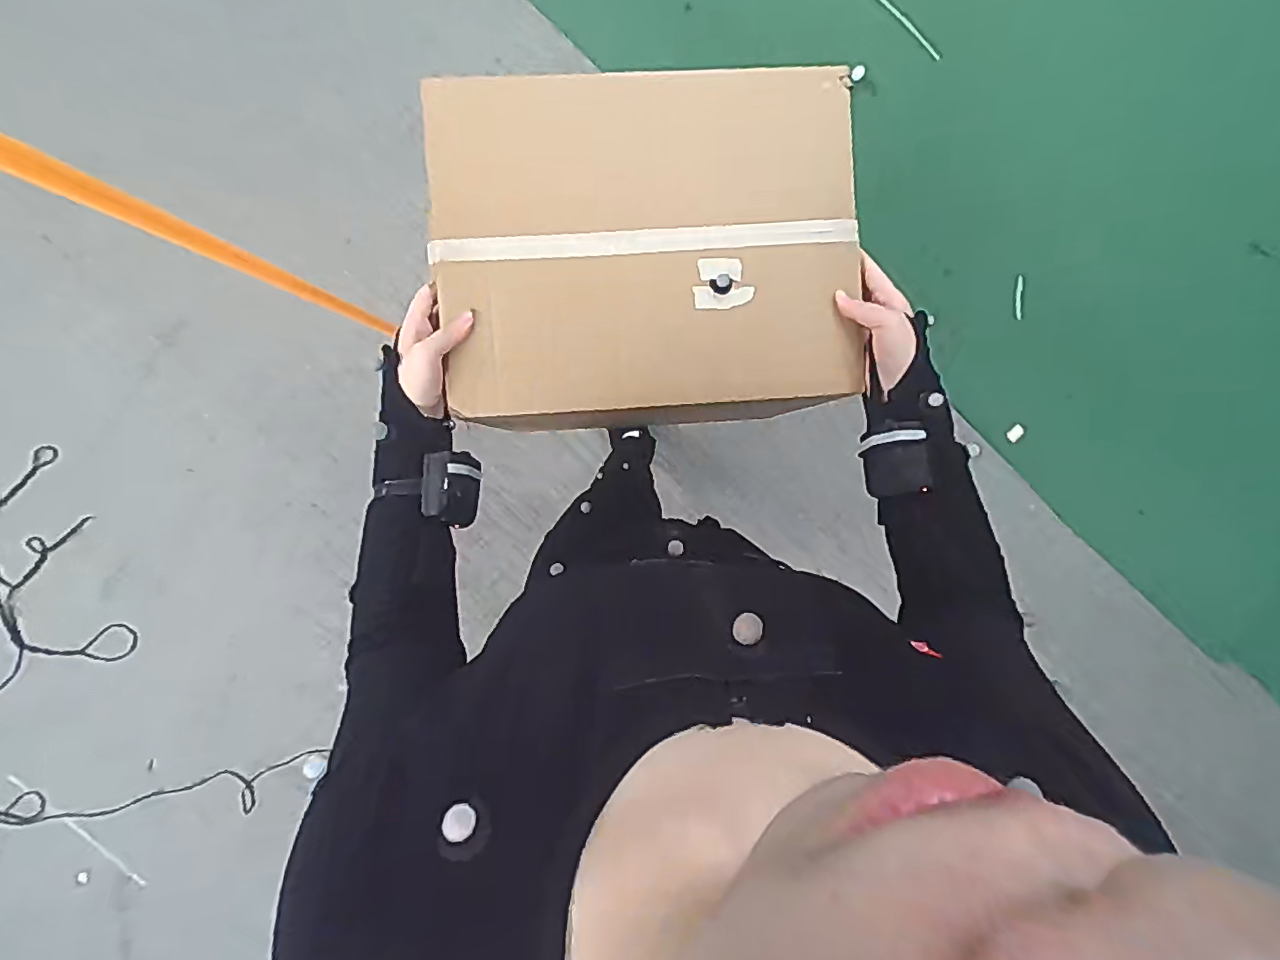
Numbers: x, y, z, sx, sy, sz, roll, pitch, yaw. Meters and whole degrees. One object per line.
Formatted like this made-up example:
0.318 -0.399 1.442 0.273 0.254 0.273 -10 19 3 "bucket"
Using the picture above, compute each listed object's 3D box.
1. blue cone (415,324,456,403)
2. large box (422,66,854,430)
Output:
-0.461 -0.305 1.301 0.192 0.380 0.193 -39 93 0 "blue cone"
-0.006 -0.240 0.671 0.408 0.320 0.320 -5 93 -4 "large box"
